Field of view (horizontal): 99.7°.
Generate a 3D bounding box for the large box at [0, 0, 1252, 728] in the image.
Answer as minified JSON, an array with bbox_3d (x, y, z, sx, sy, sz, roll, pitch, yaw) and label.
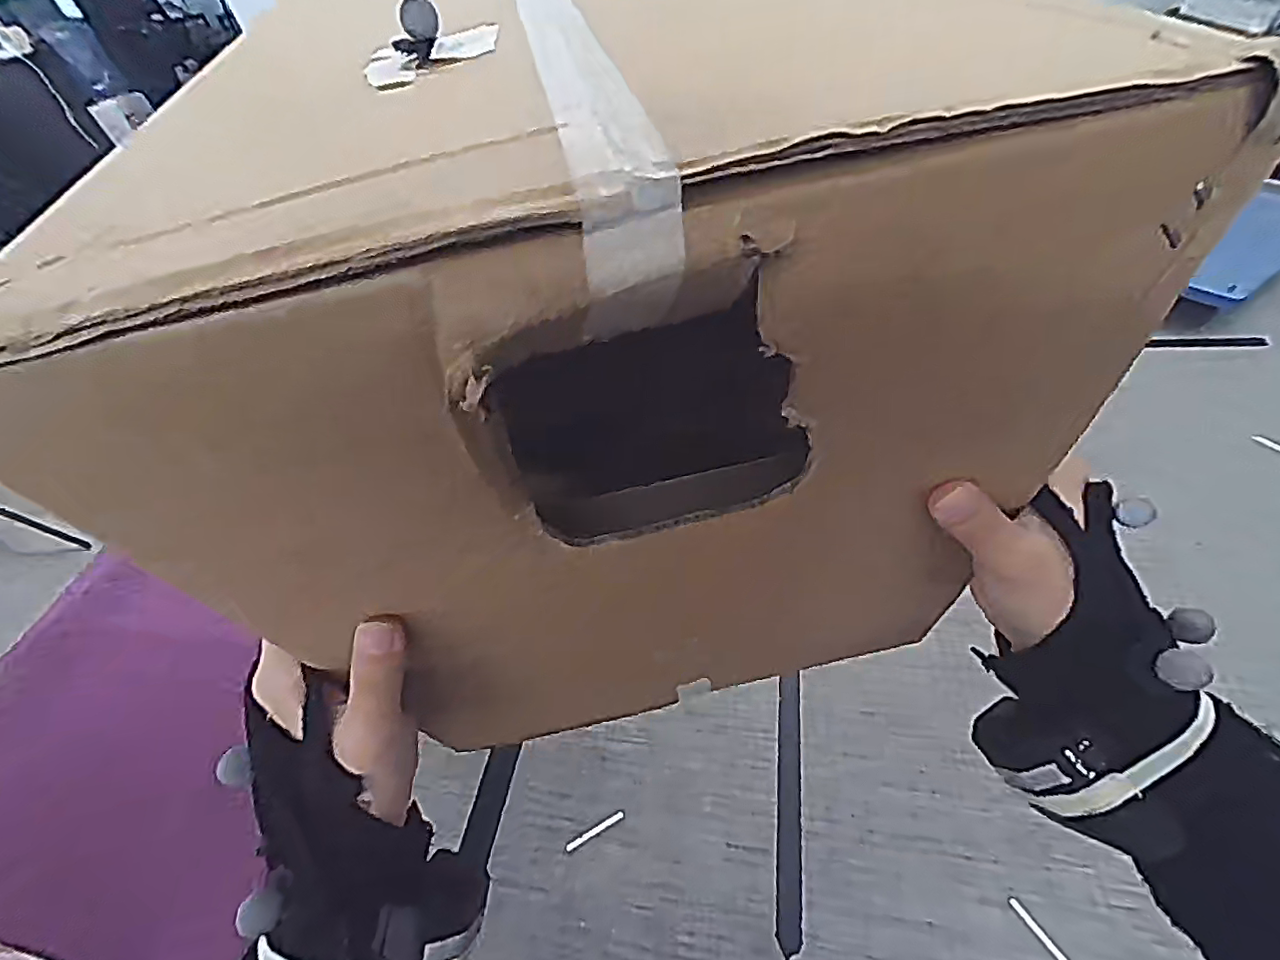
[{"bbox_3d":[-0.022,-0.111,0.363,0.320,0.320,0.408,-14,52,-1],"label":"large box"}]
